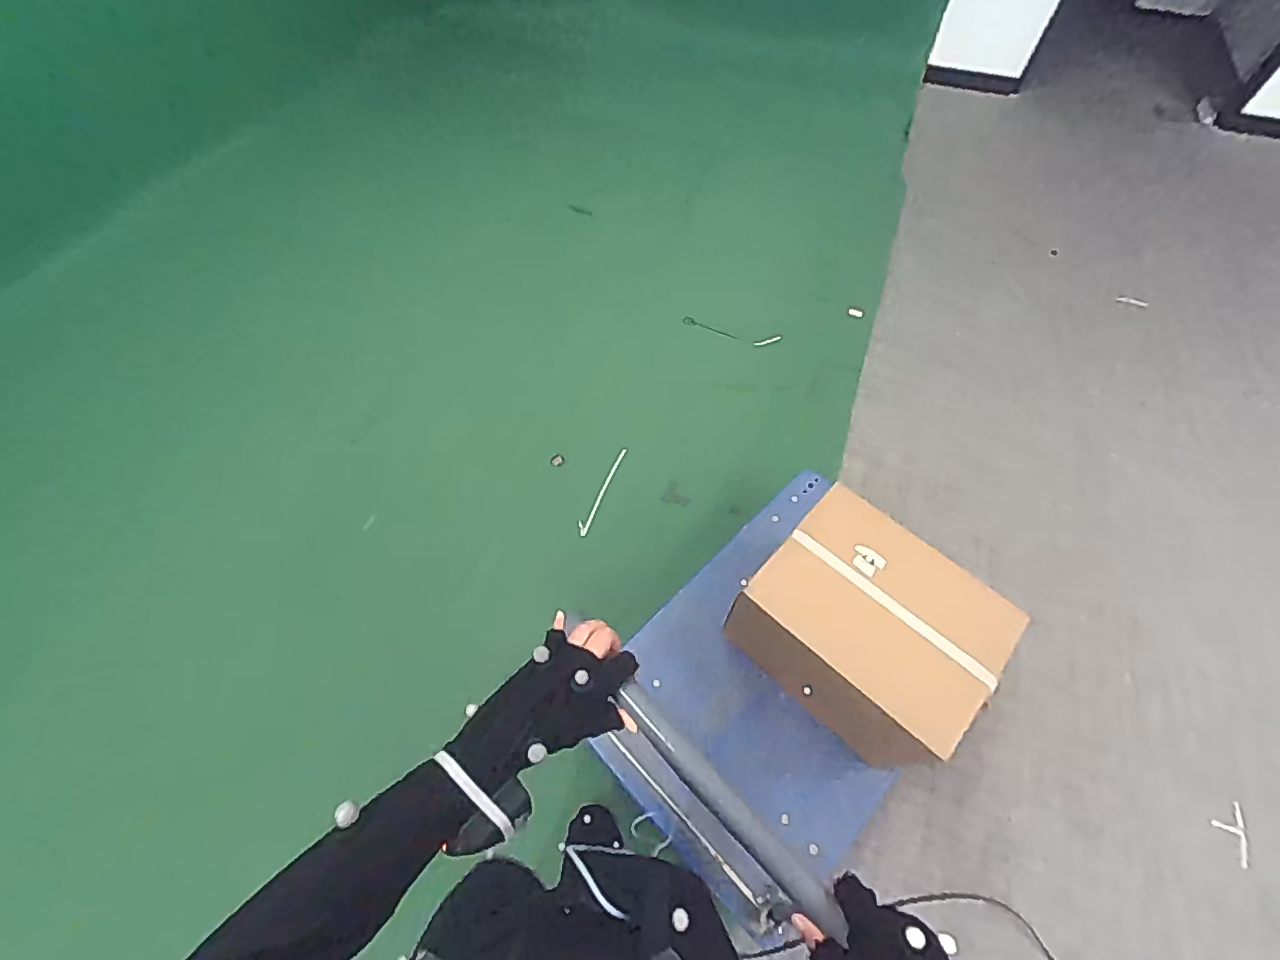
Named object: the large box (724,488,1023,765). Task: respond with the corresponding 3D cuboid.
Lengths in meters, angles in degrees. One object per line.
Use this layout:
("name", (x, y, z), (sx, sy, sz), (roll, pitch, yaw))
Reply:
("large box", (0.429, 0.298, 1.088), (0.408, 0.320, 0.320), (39, 68, 22))
